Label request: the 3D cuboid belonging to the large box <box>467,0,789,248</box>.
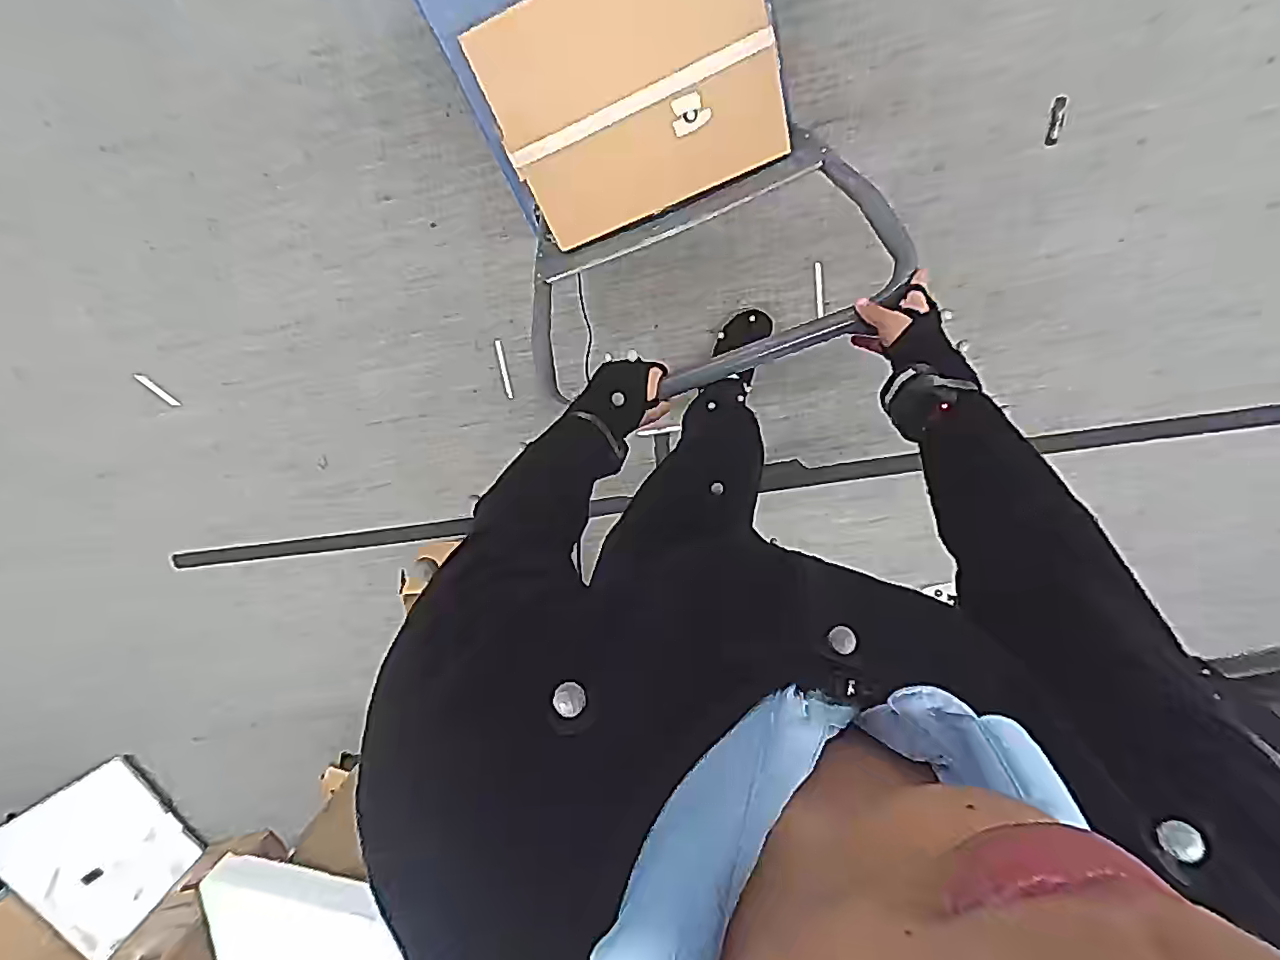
[{"bbox_3d":[-0.016,-0.665,0.907,0.408,0.320,0.320,-20,132,11],"label":"large box"}]
